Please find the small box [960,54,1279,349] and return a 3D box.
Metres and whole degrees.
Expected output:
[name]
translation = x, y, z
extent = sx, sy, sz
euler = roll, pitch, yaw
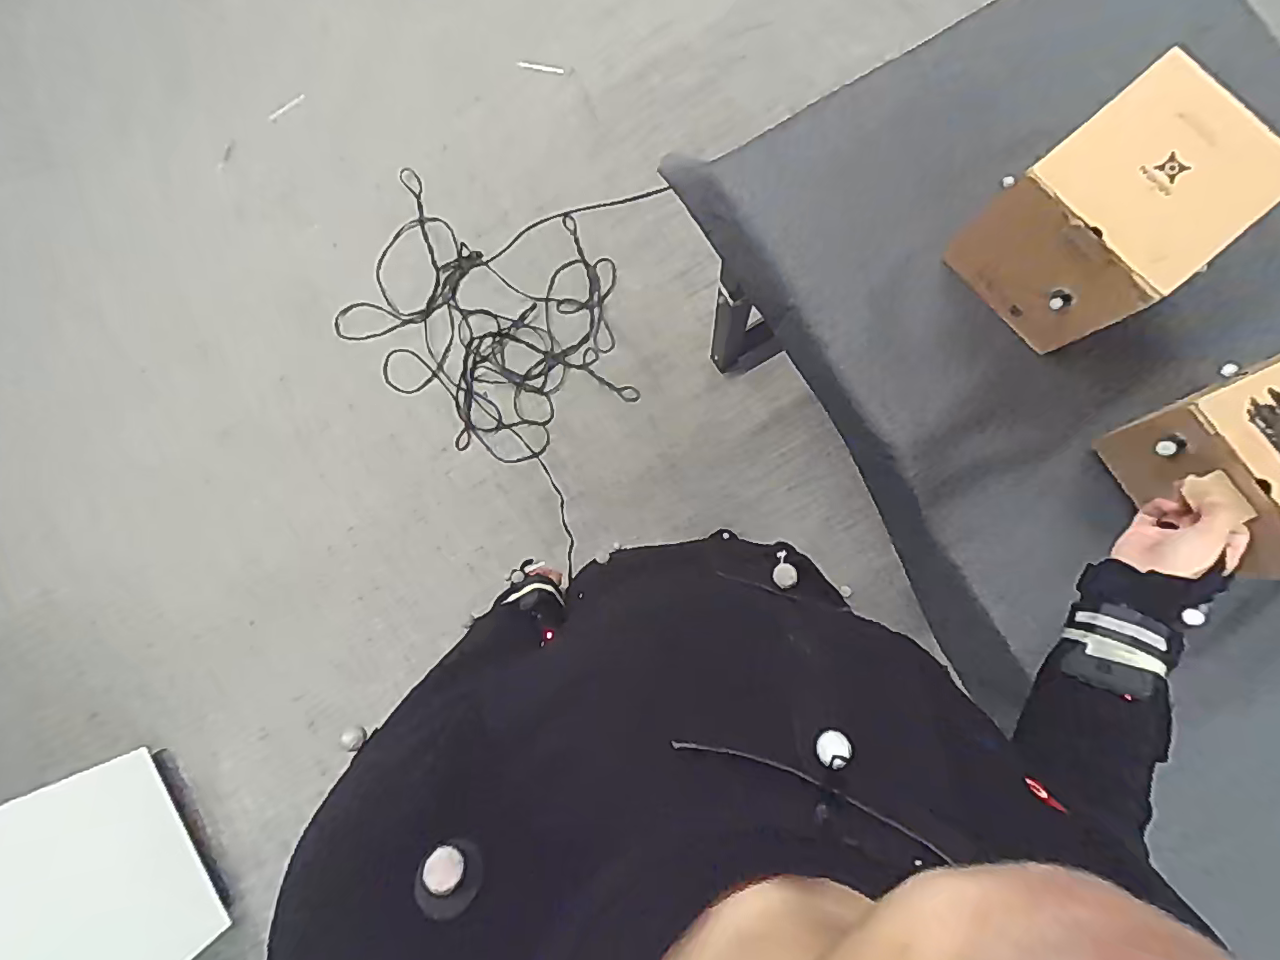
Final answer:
[small box]
translation = 0.476, -0.267, 0.564
extent = 0.179, 0.176, 0.168
euler = -41, 85, -1
